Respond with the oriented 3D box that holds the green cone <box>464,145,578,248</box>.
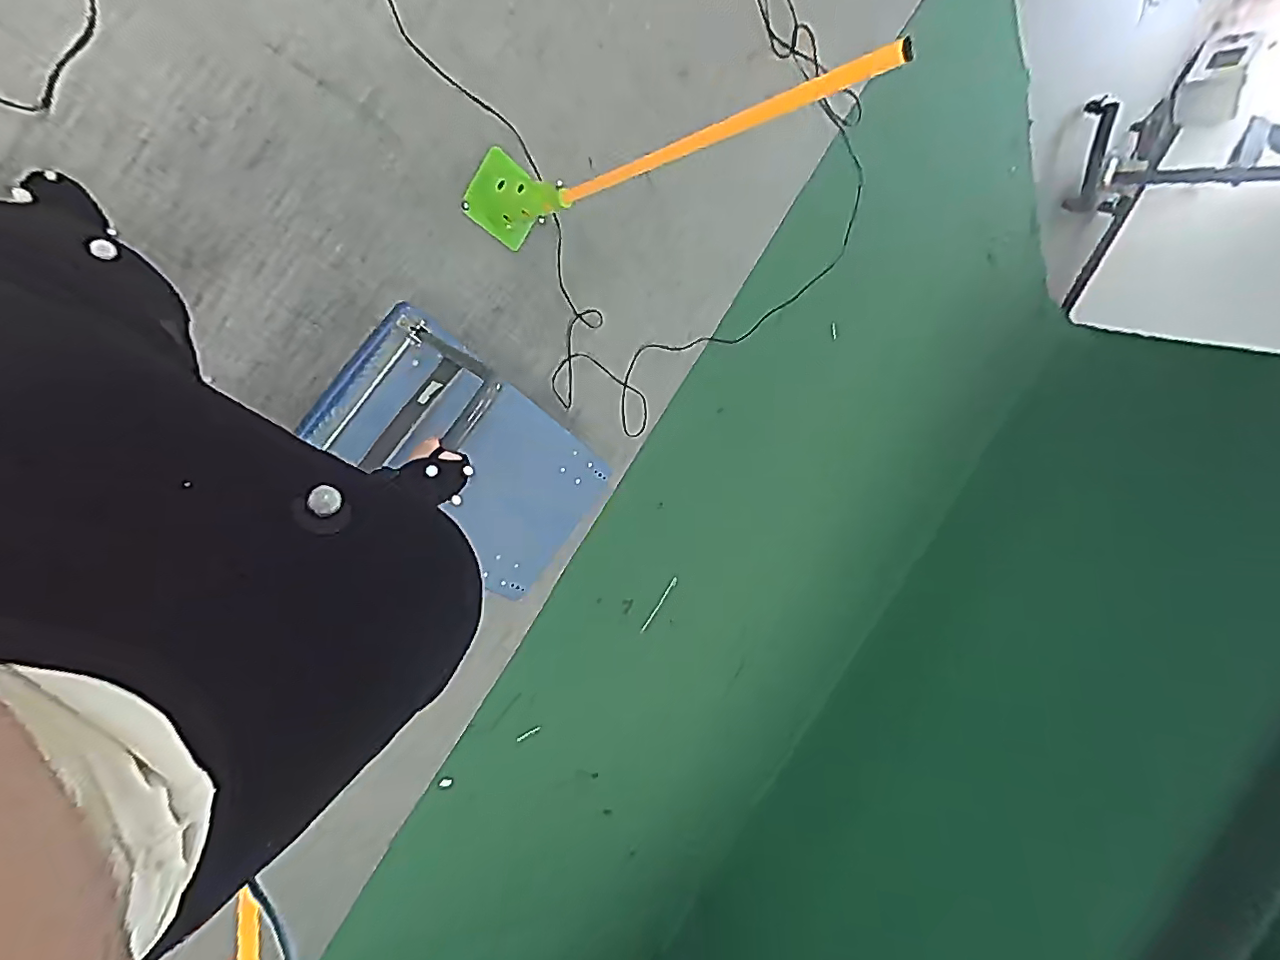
[{"bbox_3d":[-0.268,-0.729,1.392,0.200,0.368,0.202,27,92,-44],"label":"green cone"}]
